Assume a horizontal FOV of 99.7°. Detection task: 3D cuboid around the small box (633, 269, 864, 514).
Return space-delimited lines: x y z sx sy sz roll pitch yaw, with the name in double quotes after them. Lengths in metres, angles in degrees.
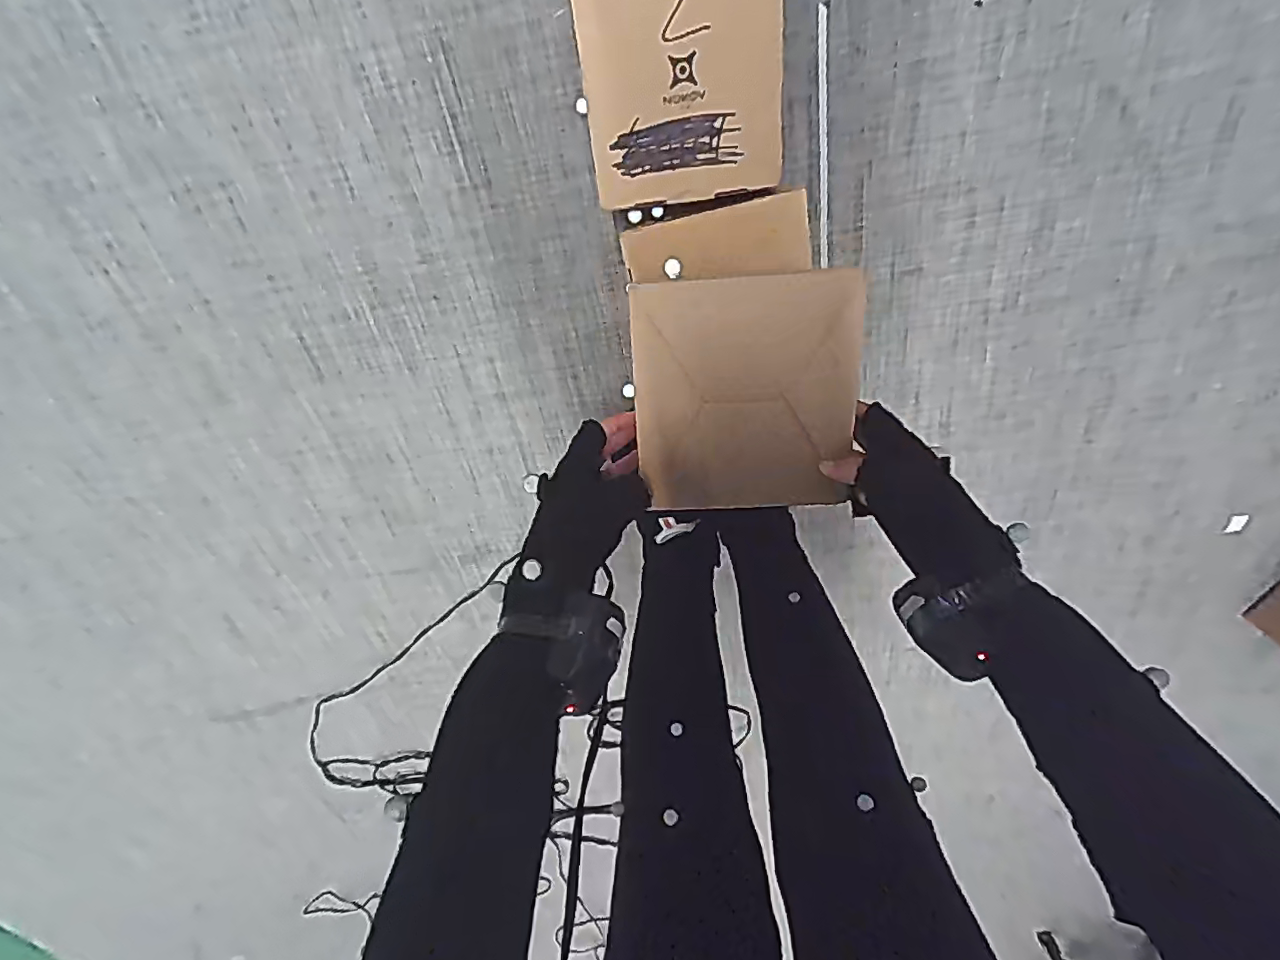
0.082 -0.087 0.475 0.168 0.176 0.179 -1 112 3 "small box"
